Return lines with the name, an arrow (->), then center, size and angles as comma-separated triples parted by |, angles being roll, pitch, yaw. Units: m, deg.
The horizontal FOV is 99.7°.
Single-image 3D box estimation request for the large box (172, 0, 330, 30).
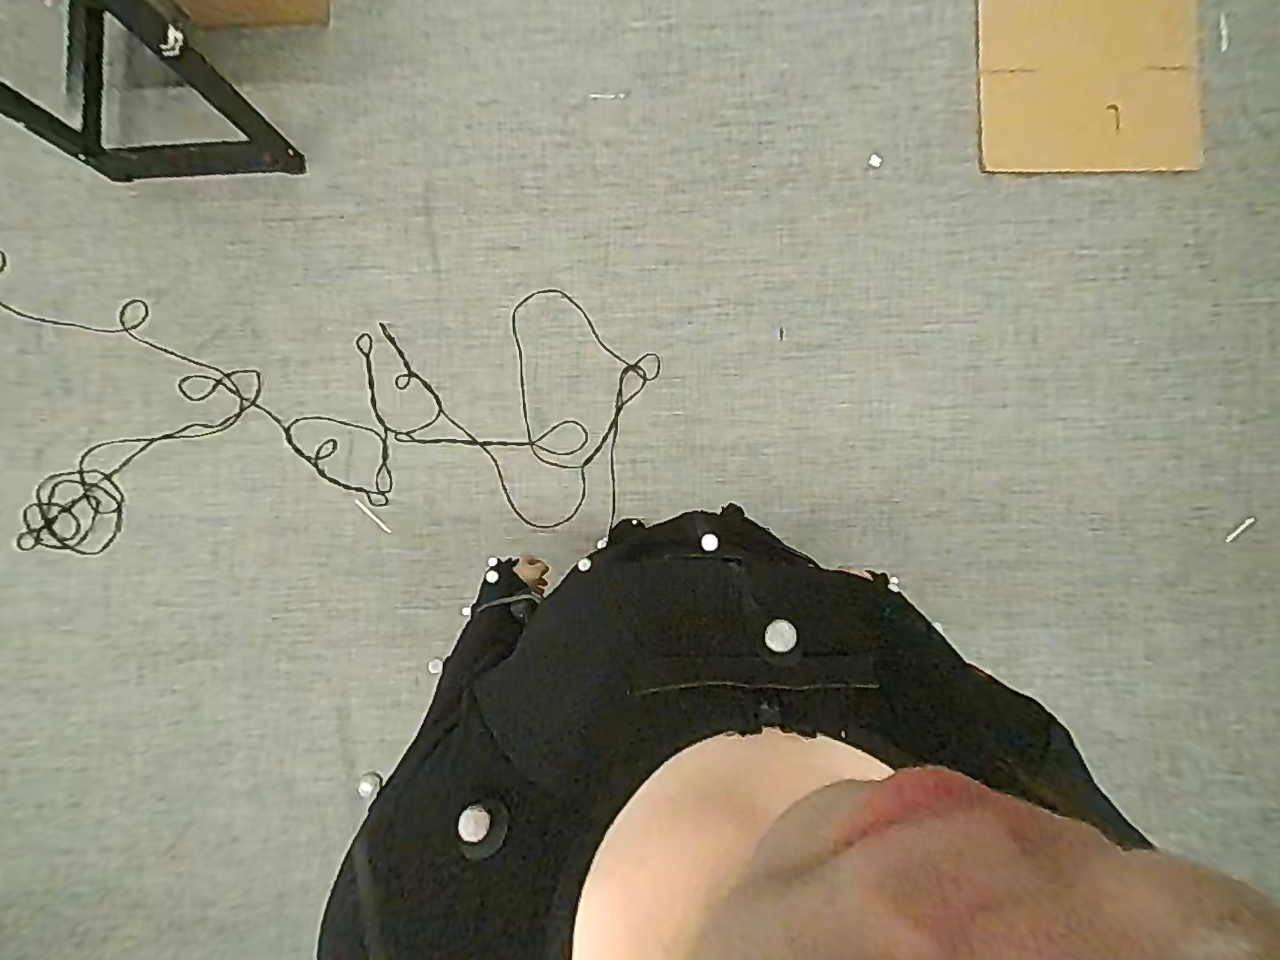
large box -> -1.130, -1.508, 1.473 | 0.408, 0.320, 0.320 | -1, 88, 0
